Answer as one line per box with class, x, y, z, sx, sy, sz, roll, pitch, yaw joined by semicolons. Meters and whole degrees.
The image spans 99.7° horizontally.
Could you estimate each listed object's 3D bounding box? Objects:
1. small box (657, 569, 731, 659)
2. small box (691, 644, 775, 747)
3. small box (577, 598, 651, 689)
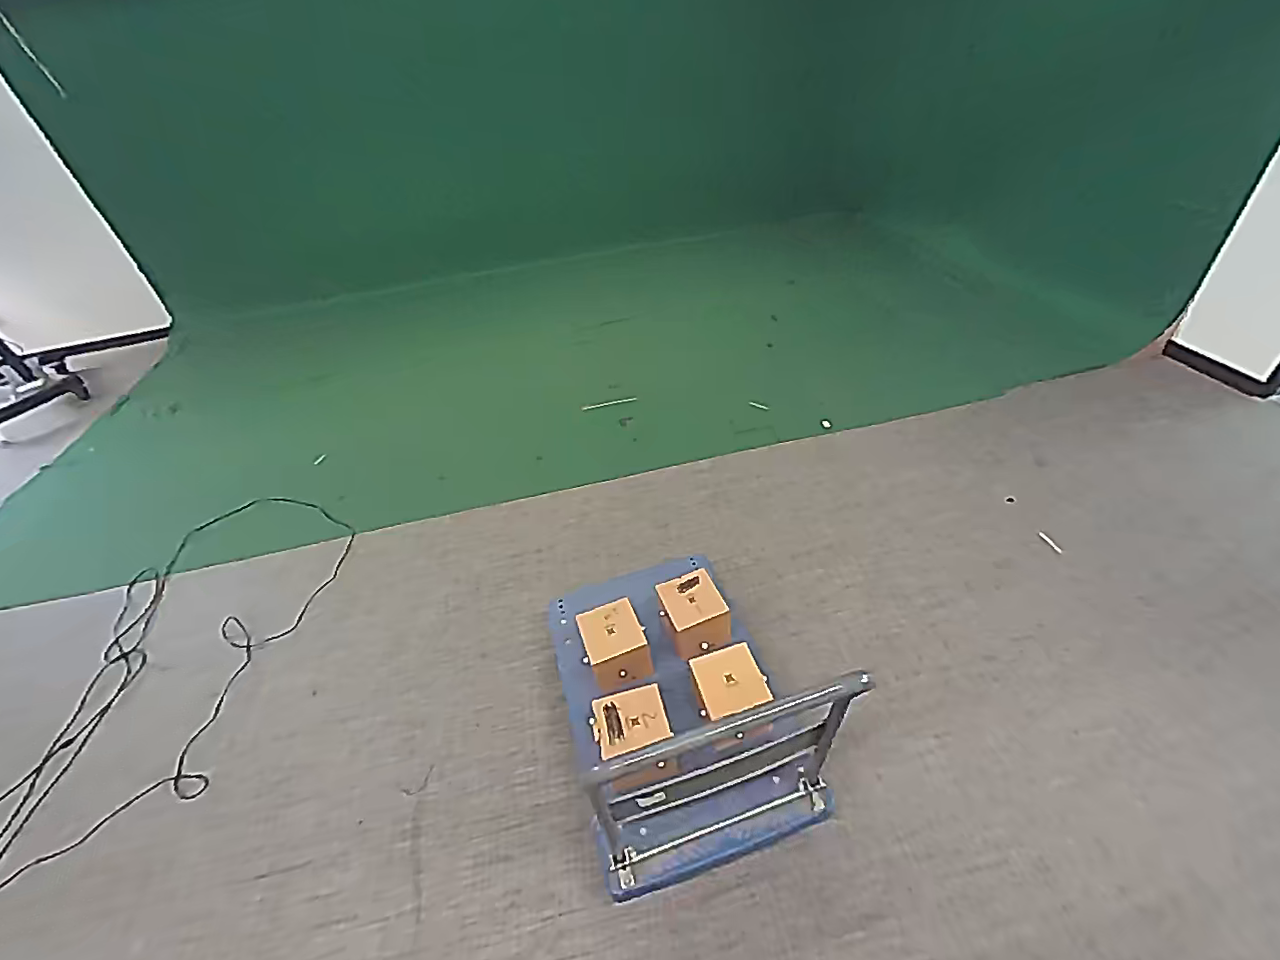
small box;0.161;0.406;1.634;0.168;0.176;0.179;-19;43;-11
small box;0.240;0.573;1.437;0.168;0.176;0.179;-15;42;-8
small box;-0.074;0.485;1.584;0.168;0.176;0.179;-17;42;-11
